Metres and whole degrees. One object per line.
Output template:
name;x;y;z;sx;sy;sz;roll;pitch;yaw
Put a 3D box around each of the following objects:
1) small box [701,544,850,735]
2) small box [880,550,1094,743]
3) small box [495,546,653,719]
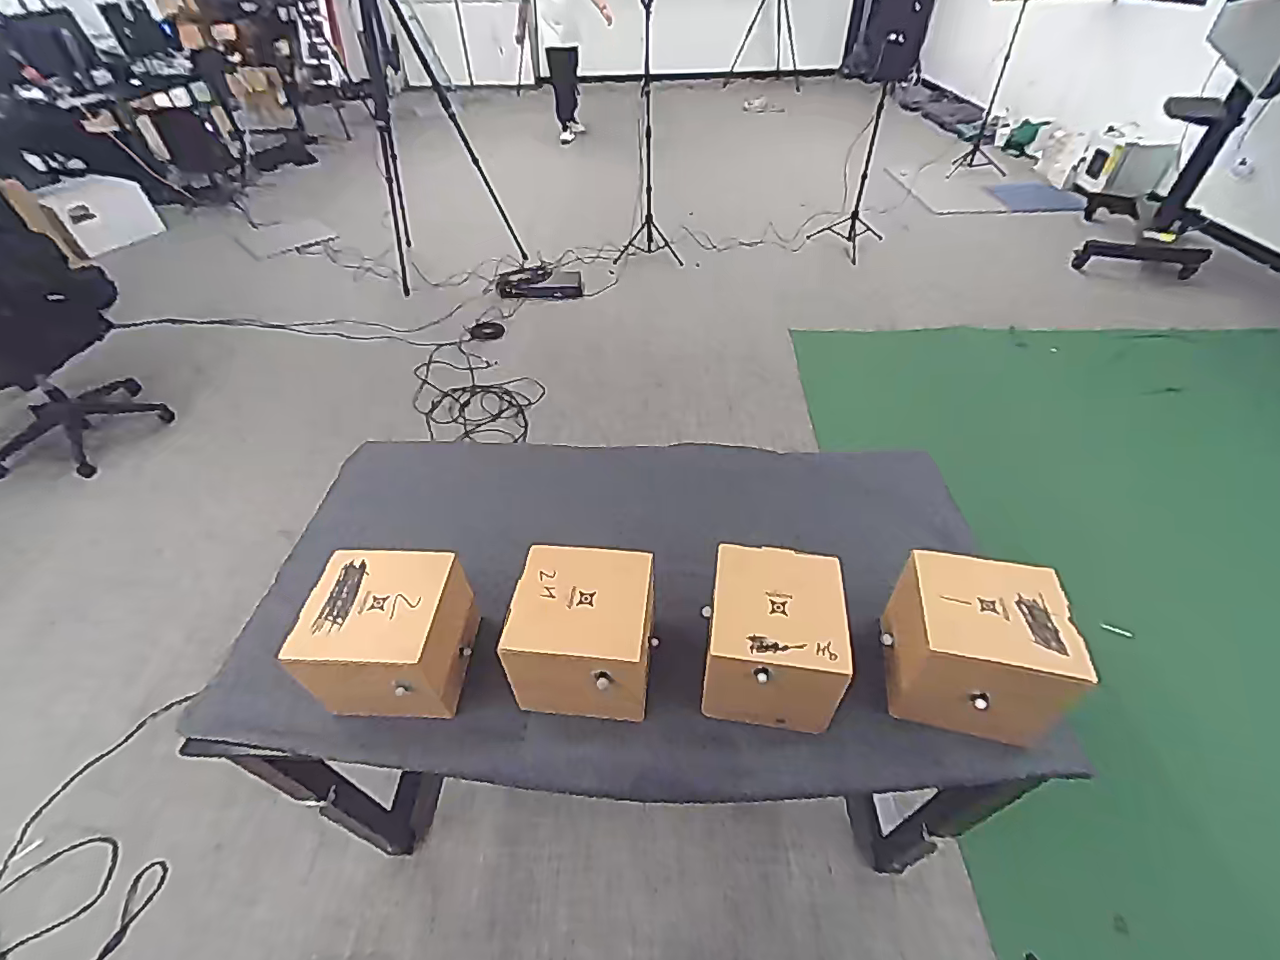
small box;0.175;0.215;0.737;0.168;0.176;0.179;6;43;8
small box;0.435;0.221;0.715;0.179;0.176;0.168;9;42;13
small box;-0.076;0.213;0.749;0.179;0.176;0.168;3;43;7
